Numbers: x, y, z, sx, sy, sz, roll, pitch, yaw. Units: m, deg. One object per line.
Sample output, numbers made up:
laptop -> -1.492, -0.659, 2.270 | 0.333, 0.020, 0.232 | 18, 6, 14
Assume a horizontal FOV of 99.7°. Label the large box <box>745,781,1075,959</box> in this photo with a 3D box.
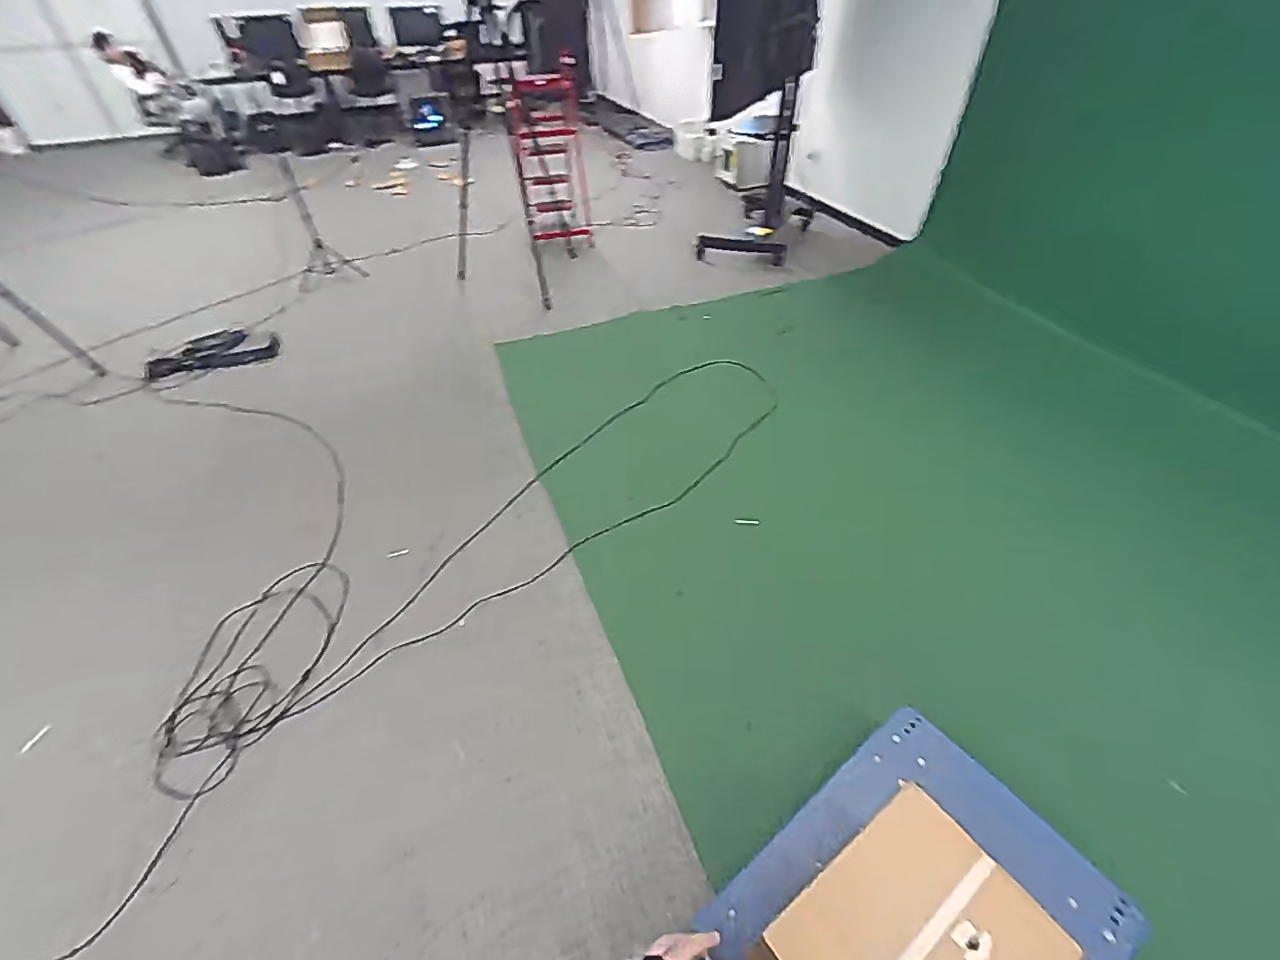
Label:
large box -> 0.446, 0.848, 0.964 | 0.408, 0.320, 0.320 | -26, 49, -24
